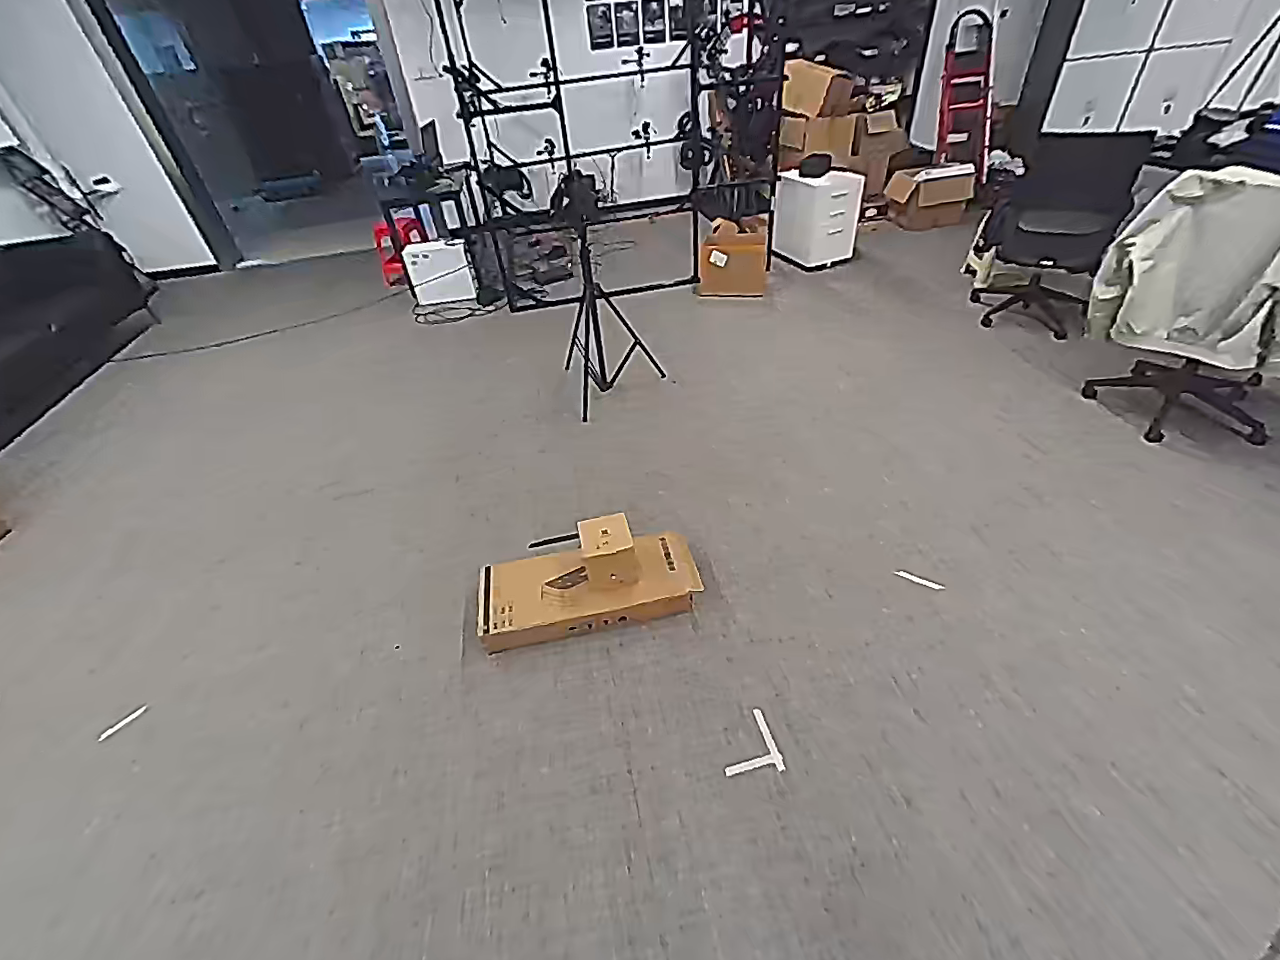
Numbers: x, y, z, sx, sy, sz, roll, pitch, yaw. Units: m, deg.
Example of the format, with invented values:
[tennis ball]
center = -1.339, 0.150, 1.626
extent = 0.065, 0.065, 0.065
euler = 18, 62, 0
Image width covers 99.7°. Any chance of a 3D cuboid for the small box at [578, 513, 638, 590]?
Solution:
[small box]
center = -0.108, 0.241, 1.821
extent = 0.168, 0.176, 0.179
euler = -12, 39, -6
